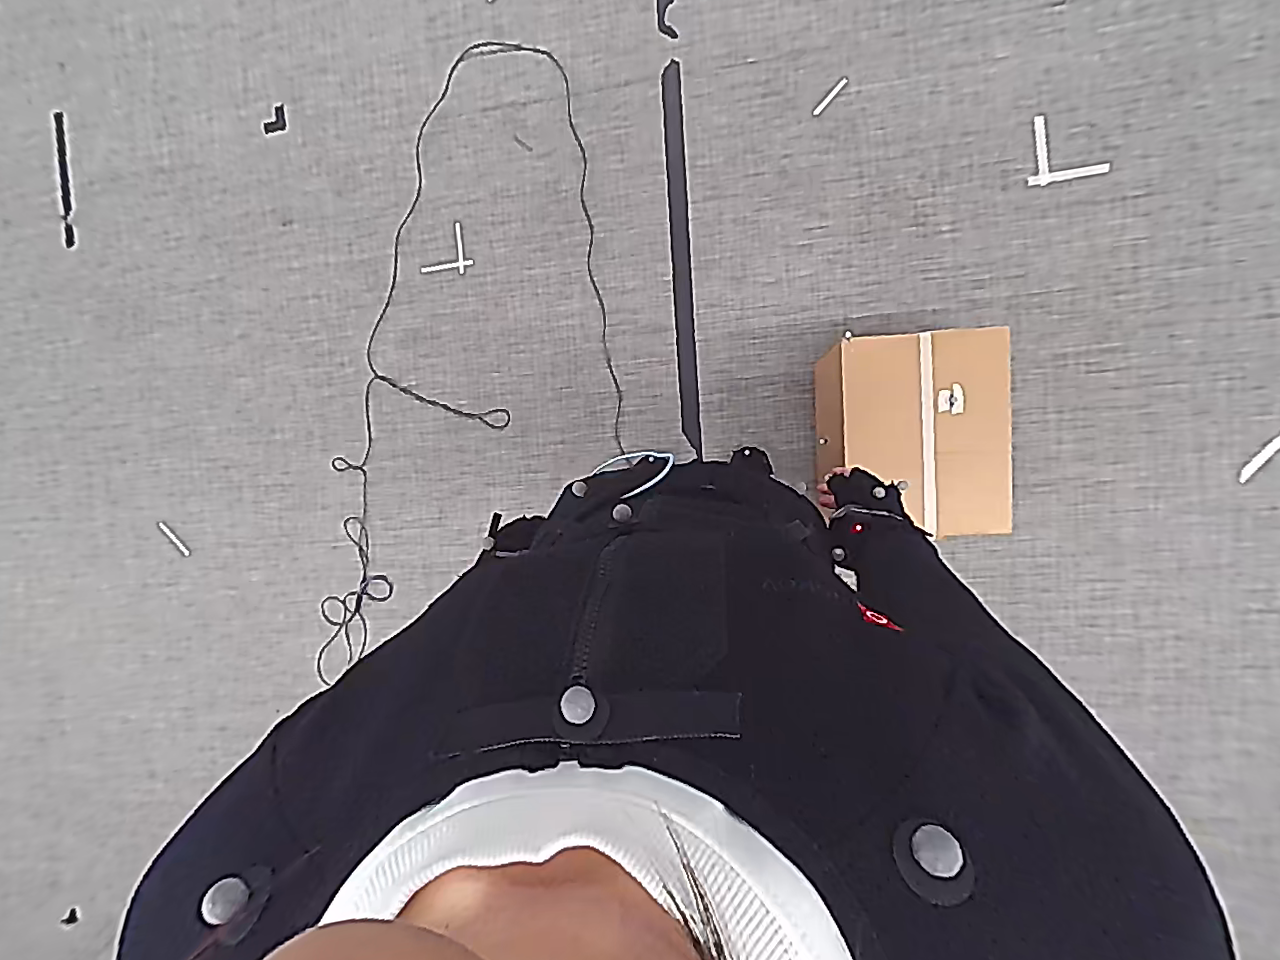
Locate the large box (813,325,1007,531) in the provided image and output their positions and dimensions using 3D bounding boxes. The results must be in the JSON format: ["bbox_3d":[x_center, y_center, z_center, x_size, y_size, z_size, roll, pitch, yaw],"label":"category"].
[{"bbox_3d":[0.585,-0.104,1.234,0.320,0.320,0.408,-3,92,7],"label":"large box"}]
